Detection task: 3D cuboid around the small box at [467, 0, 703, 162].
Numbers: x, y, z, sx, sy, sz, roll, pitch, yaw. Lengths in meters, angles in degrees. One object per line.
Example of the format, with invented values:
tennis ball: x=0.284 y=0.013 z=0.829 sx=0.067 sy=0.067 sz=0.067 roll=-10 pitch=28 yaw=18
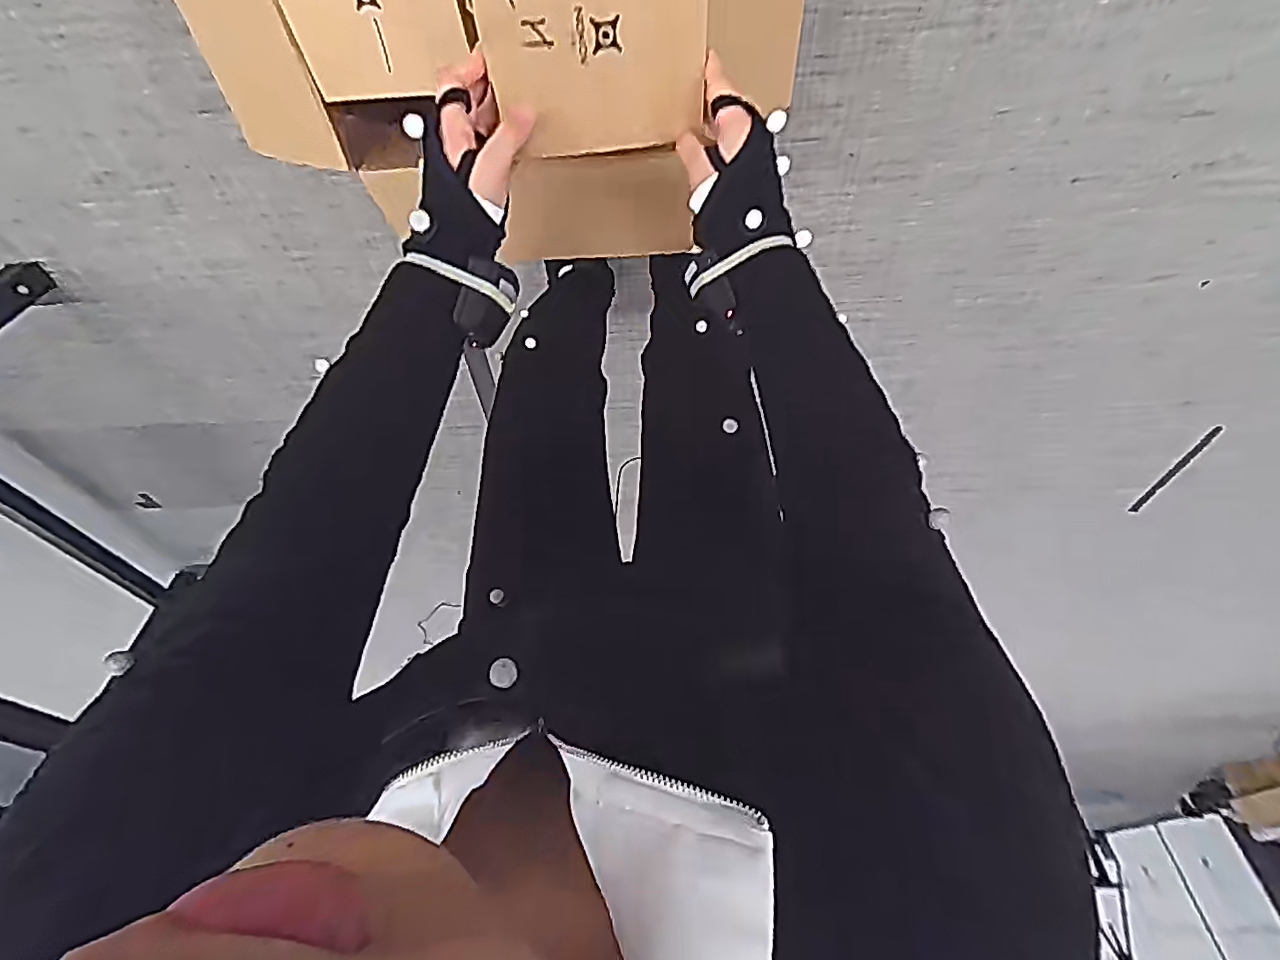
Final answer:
small box: x=-0.048 y=-0.405 z=0.461 sx=0.179 sy=0.176 sz=0.168 roll=-7 pitch=145 yaw=-1
